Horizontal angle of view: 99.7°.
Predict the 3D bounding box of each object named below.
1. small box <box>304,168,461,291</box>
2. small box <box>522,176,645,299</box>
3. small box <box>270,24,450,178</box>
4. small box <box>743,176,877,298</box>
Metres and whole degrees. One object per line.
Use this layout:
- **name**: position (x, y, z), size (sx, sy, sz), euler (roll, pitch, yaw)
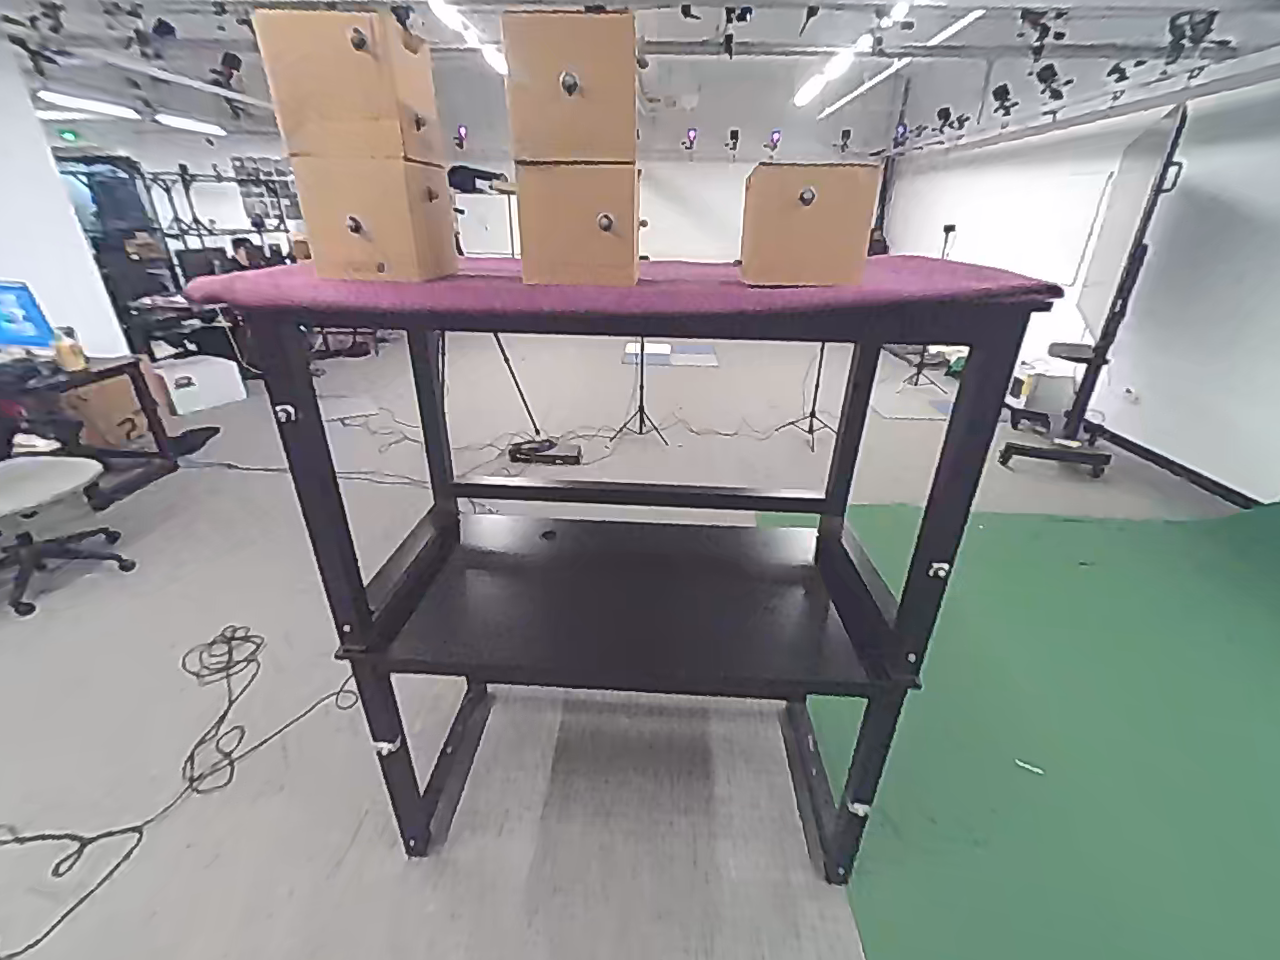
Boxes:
- **small box**: position (-0.404, -0.407, 0.887), size (0.168, 0.176, 0.179), euler (3, 25, 1)
- **small box**: position (-0.083, -0.393, 0.884), size (0.179, 0.176, 0.168), euler (1, 24, 2)
- **small box**: position (-0.405, -0.553, 0.817), size (0.179, 0.176, 0.168), euler (2, 26, -1)
- **small box**: position (0.266, -0.391, 0.891), size (0.179, 0.176, 0.168), euler (3, 22, 4)
